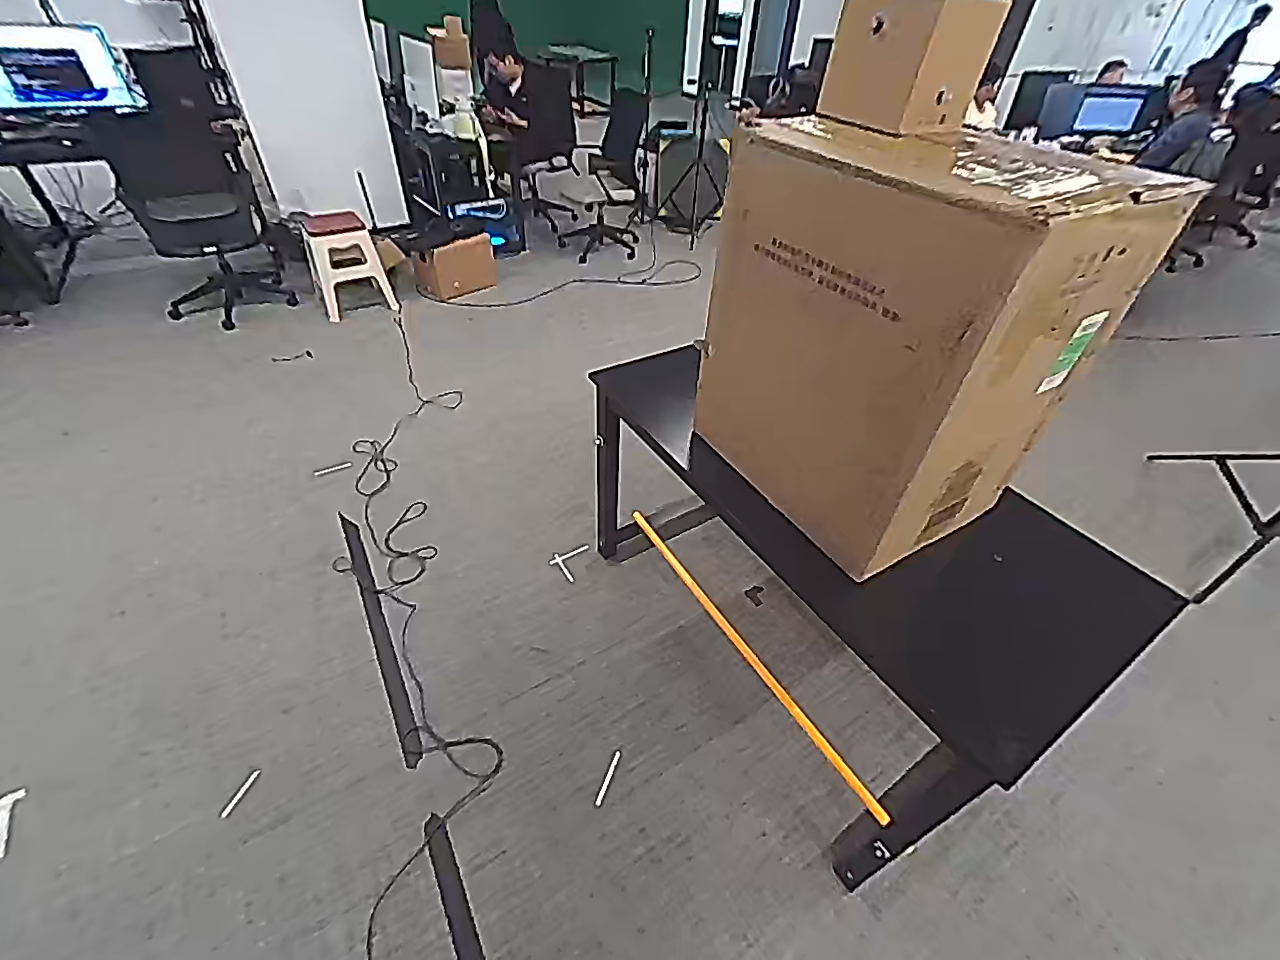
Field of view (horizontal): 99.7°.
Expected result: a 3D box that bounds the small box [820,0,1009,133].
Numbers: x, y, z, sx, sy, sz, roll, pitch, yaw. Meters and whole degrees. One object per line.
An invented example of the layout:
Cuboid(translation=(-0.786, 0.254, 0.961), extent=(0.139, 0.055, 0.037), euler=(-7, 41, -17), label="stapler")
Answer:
Cuboid(translation=(0.418, -0.665, 0.855), extent=(0.168, 0.176, 0.179), euler=(-21, 50, -26), label="small box")
